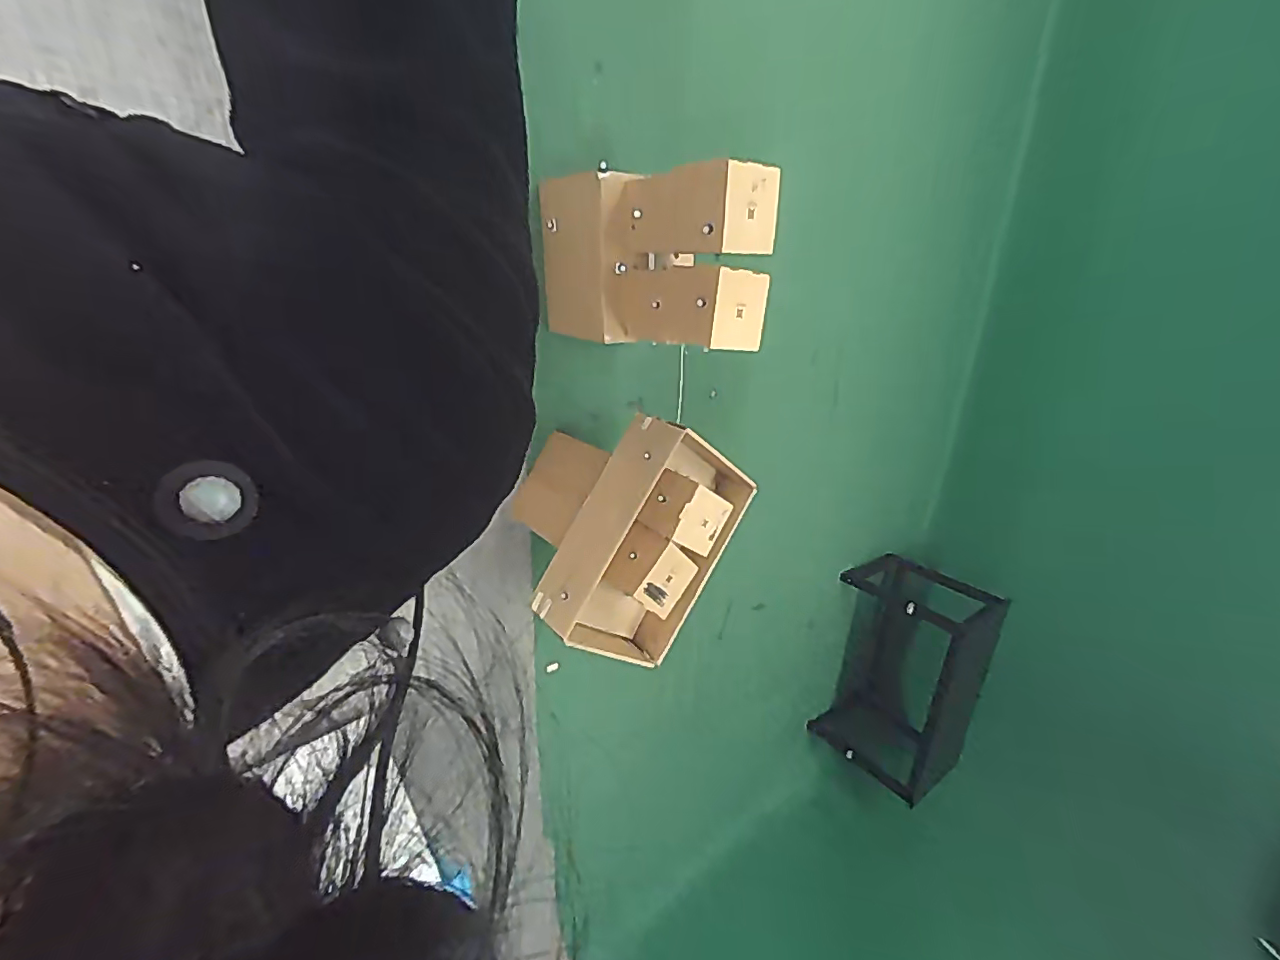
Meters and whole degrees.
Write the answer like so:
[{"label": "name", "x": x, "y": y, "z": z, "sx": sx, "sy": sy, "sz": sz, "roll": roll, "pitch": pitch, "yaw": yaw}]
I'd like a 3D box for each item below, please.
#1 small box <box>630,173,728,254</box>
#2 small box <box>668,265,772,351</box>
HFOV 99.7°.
[{"label": "small box", "x": 0.093, "y": -0.648, "z": 1.328, "sx": 0.179, "sy": 0.176, "sz": 0.168, "roll": -18, "pitch": 118, "yaw": -33}, {"label": "small box", "x": 0.184, "y": -0.405, "z": 1.280, "sx": 0.168, "sy": 0.176, "sz": 0.179, "roll": -7, "pitch": 110, "yaw": -36}]
